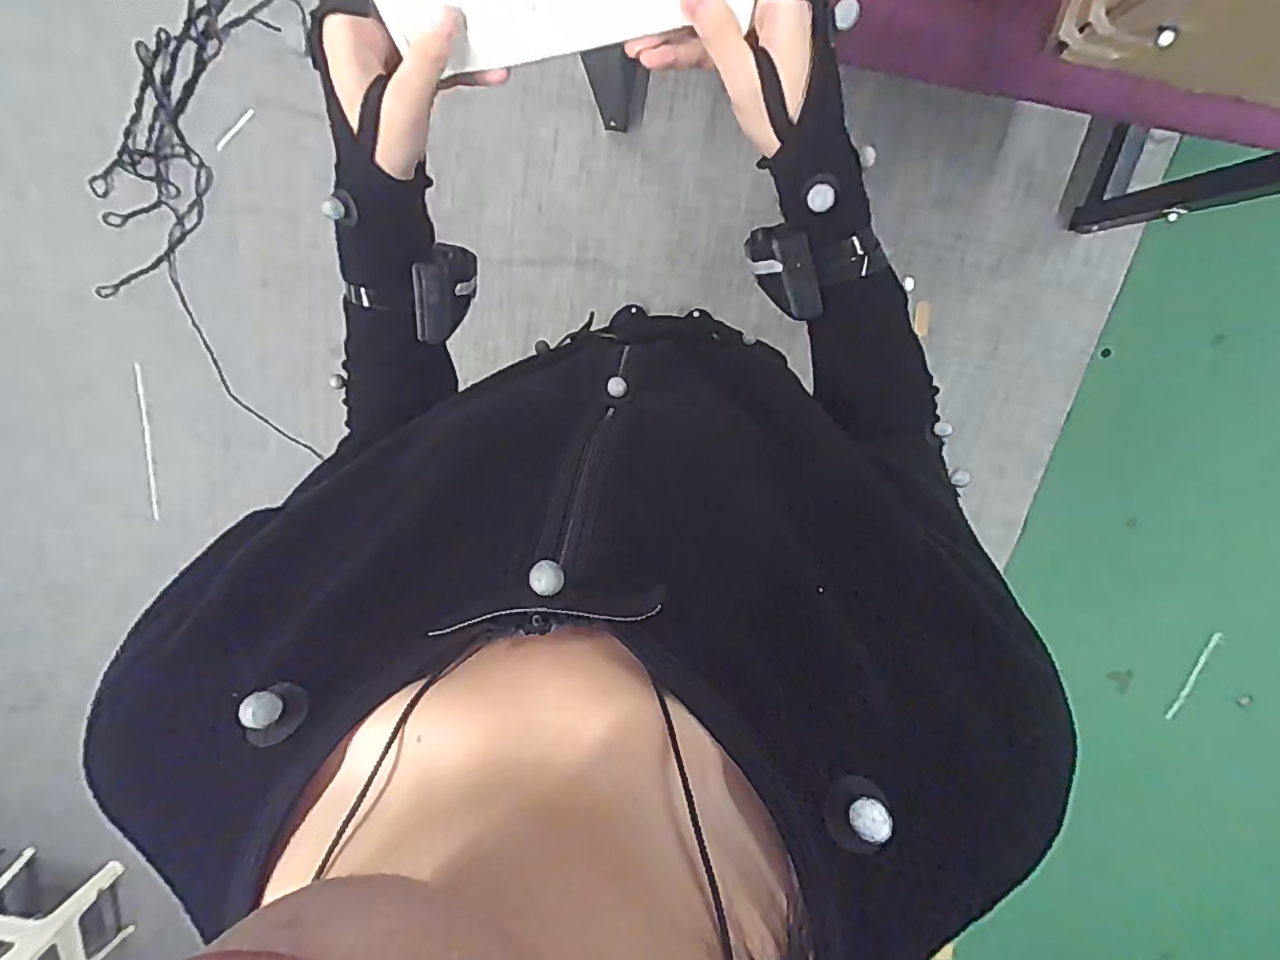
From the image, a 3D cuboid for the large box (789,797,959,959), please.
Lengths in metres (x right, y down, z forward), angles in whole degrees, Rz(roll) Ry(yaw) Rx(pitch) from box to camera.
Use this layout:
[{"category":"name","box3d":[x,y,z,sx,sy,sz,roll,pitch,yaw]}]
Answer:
[{"category":"large box","box3d":[0.701,1.240,1.684,0.408,0.320,0.320,-3,106,3]}]
